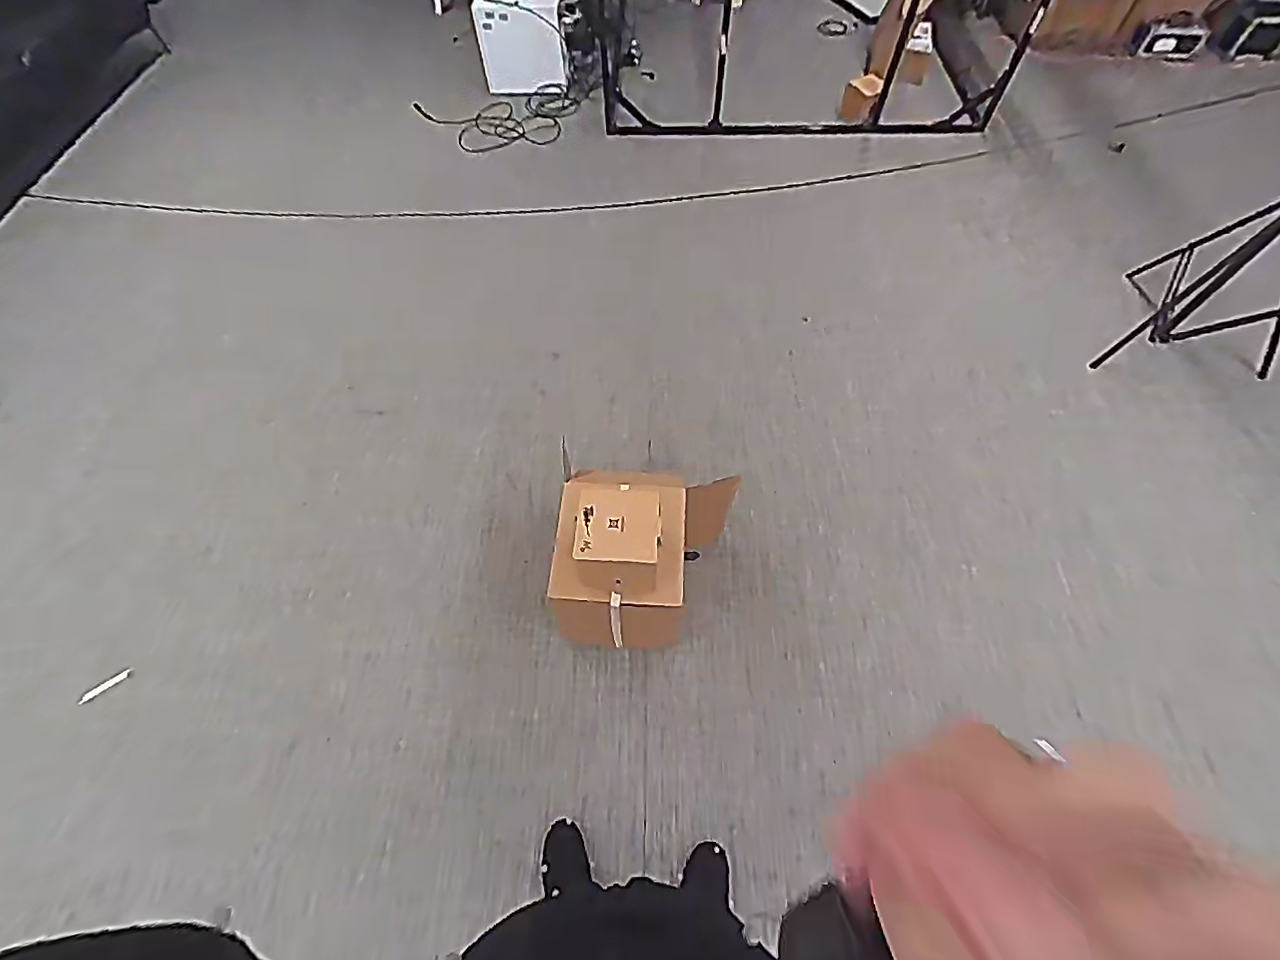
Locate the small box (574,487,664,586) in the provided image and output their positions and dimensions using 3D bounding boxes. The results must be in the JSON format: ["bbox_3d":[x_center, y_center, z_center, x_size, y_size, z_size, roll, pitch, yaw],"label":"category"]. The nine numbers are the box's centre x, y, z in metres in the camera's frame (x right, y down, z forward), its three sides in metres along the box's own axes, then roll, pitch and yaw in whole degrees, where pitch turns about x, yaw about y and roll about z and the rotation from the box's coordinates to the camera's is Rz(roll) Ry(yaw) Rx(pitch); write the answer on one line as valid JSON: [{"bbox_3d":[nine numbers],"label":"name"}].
[{"bbox_3d":[-0.040,0.130,1.193,0.179,0.176,0.168,3,61,2],"label":"small box"}]
